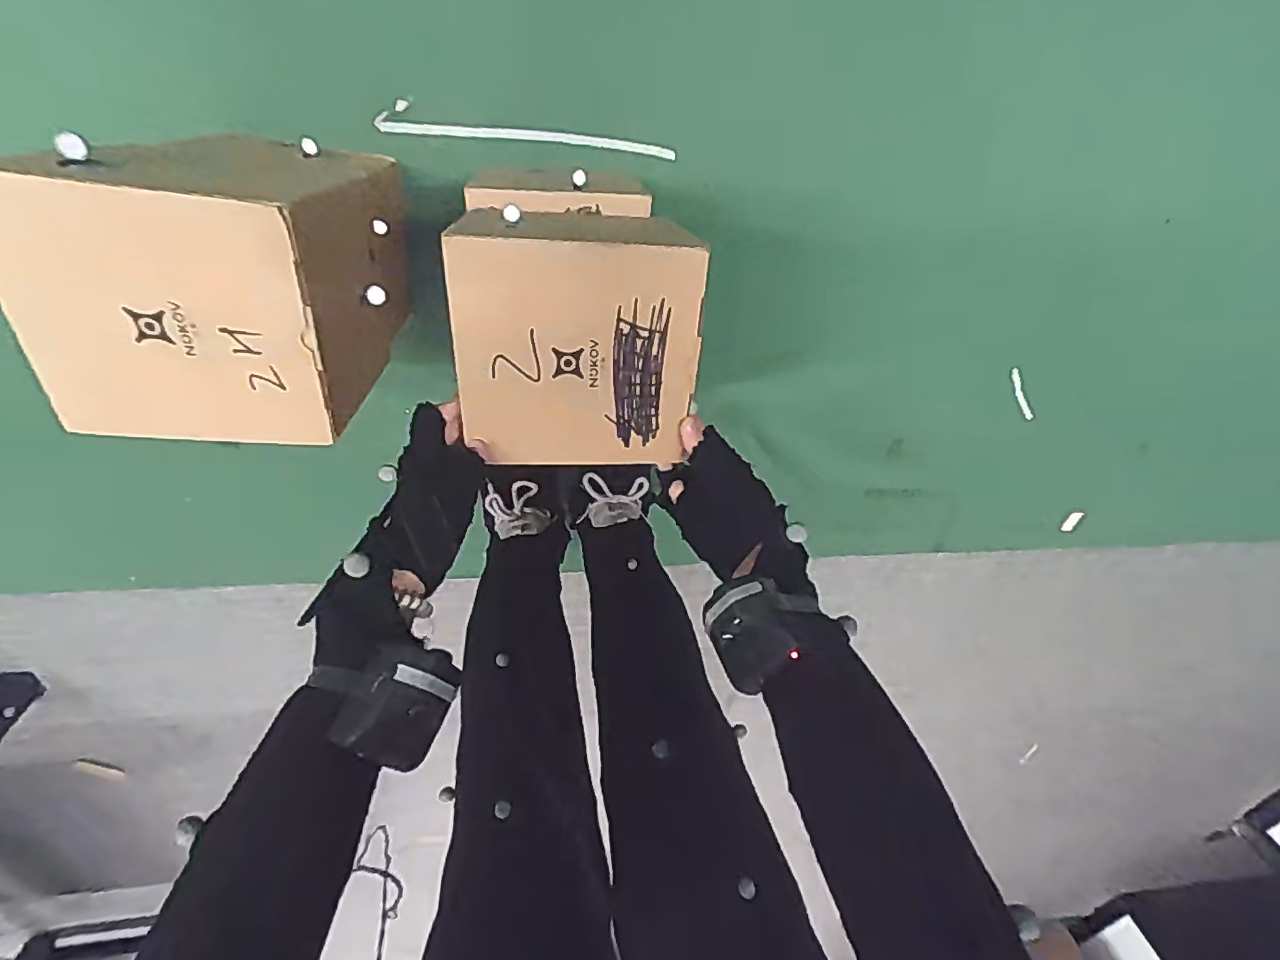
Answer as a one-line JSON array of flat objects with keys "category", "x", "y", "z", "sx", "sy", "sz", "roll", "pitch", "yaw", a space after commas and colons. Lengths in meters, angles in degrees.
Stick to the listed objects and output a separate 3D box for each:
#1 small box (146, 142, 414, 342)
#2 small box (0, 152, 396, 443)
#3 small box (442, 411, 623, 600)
[{"category": "small box", "x": -0.339, "y": -0.230, "z": 0.557, "sx": 0.168, "sy": 0.176, "sz": 0.179, "roll": 4, "pitch": 123, "yaw": -11}, {"category": "small box", "x": -0.309, "y": -0.146, "z": 0.418, "sx": 0.179, "sy": 0.176, "sz": 0.168, "roll": 3, "pitch": 123, "yaw": -10}, {"category": "small box", "x": -0.158, "y": 0.035, "z": 0.782, "sx": 0.179, "sy": 0.176, "sz": 0.168, "roll": 41, "pitch": 121, "yaw": -3}]
